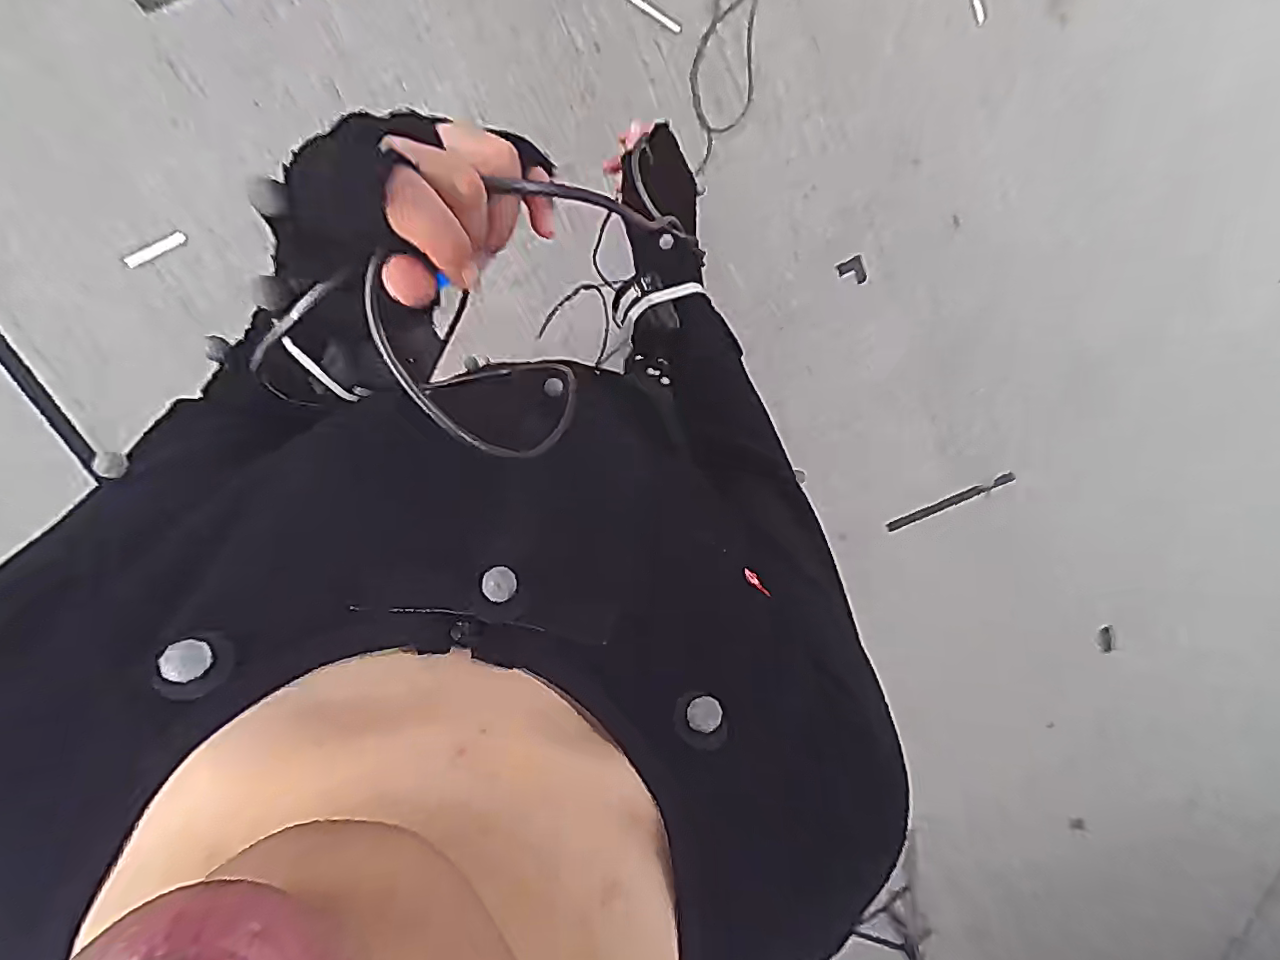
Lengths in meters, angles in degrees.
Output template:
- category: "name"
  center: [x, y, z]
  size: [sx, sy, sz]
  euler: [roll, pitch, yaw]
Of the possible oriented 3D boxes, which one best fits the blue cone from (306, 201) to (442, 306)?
- category: "blue cone"
  center: [-0.576, -0.489, 1.125]
  size: [0.193, 0.380, 0.192]
  euler: [-30, 105, 4]
